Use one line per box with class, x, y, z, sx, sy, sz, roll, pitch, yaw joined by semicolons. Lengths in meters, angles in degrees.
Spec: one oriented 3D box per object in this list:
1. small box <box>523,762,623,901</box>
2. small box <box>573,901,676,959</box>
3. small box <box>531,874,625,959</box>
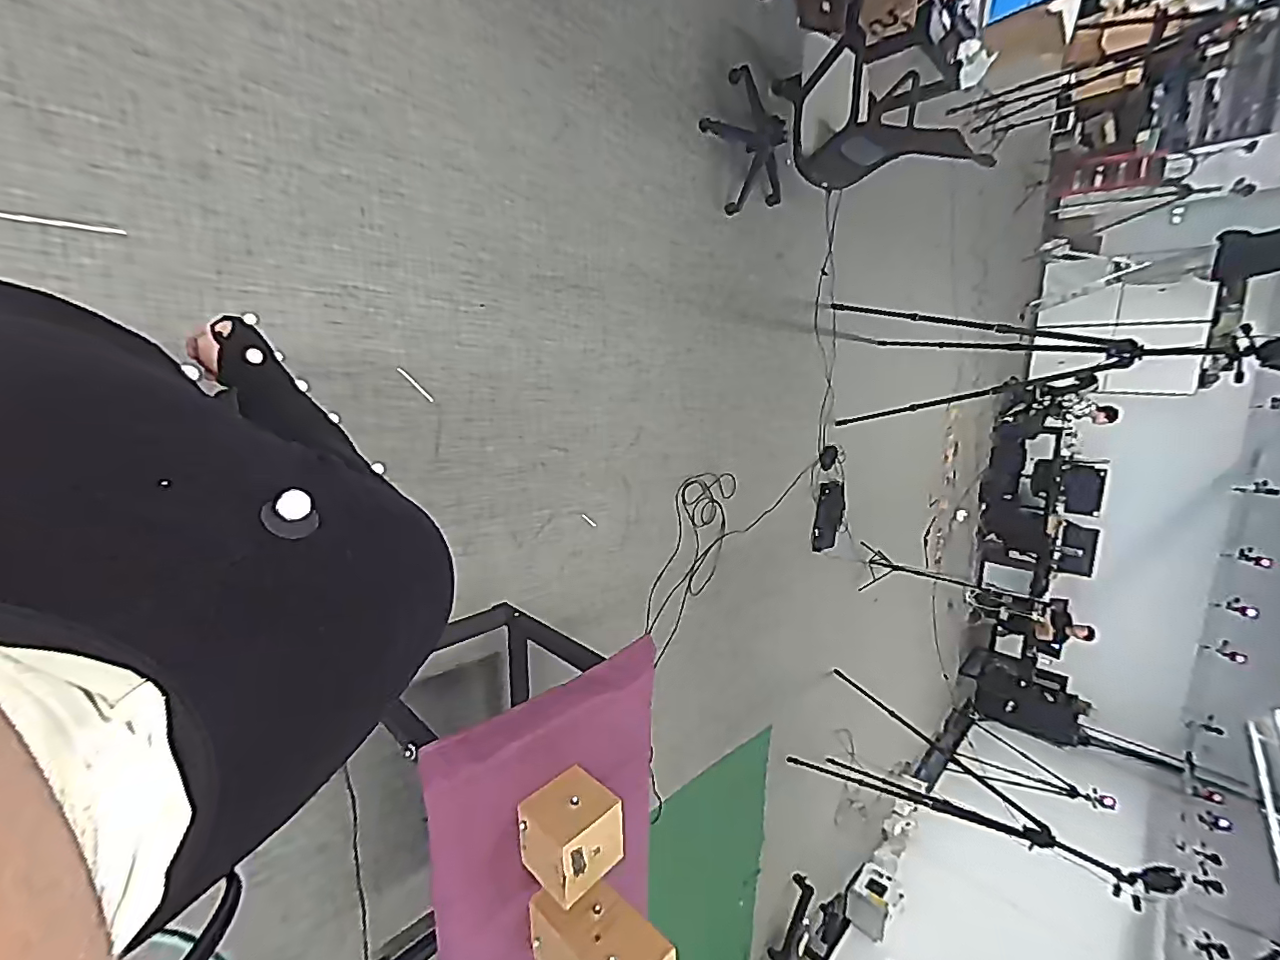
small box;-0.159;0.806;1.259;0.179;0.176;0.168;-15;109;-45
small box;-0.036;1.101;1.213;0.168;0.176;0.179;-15;108;-43
small box;-0.152;1.080;1.326;0.168;0.176;0.179;-15;109;-44
